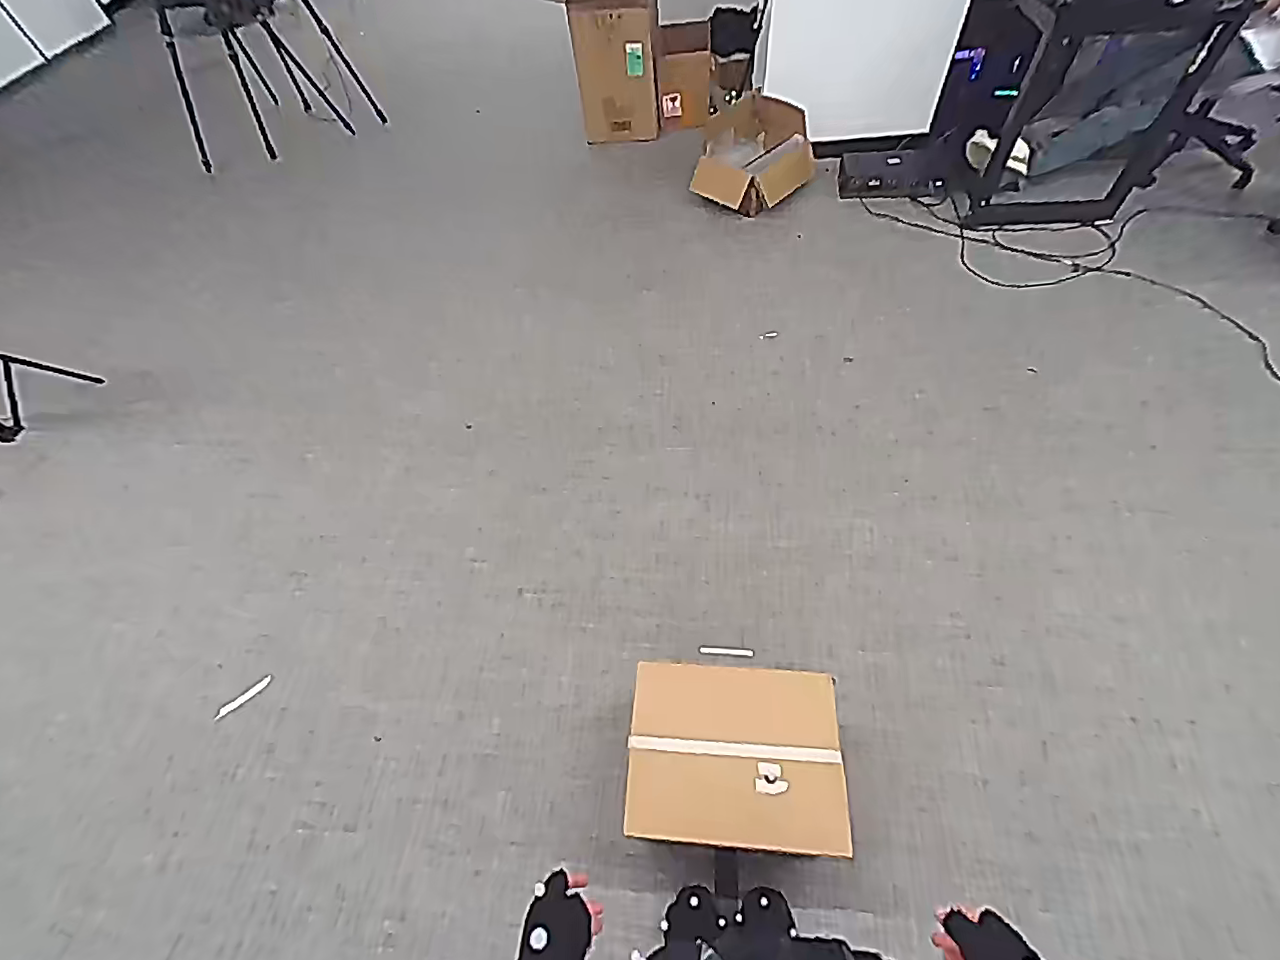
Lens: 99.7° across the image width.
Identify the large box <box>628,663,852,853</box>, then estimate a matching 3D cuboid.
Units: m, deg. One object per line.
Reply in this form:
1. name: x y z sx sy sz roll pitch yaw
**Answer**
1. large box: 0.192 0.603 1.164 0.408 0.320 0.320 2 57 6
